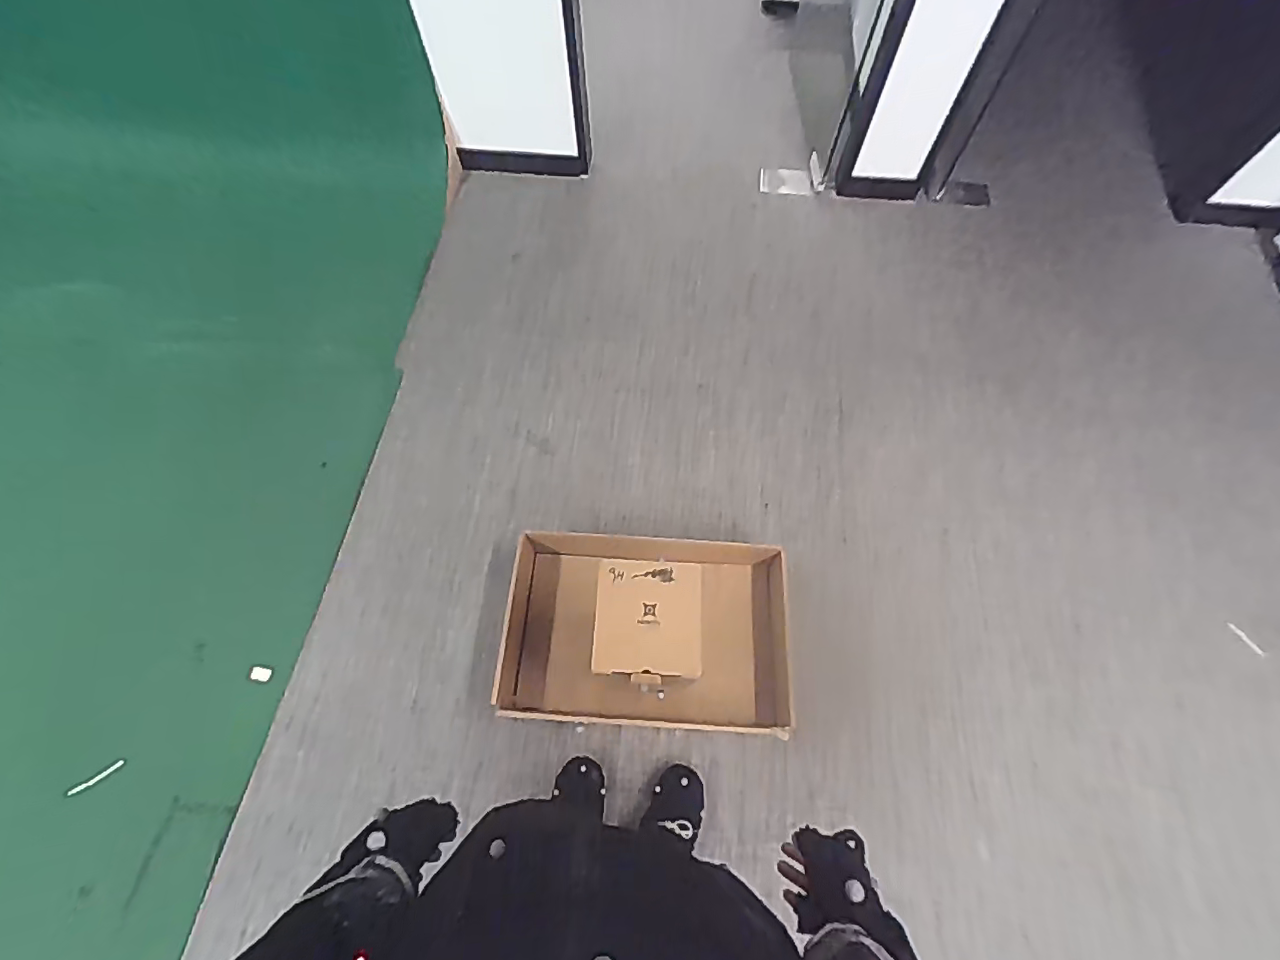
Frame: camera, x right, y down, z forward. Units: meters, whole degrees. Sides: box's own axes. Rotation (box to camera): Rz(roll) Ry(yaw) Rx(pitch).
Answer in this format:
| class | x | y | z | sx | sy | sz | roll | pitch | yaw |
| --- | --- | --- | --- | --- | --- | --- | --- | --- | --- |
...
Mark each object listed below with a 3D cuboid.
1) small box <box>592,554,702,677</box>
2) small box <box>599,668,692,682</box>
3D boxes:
| class | x | y | z | sx | sy | sz | roll | pitch | yaw |
| --- | --- | --- | --- | --- | --- | --- | --- | --- | --- |
| small box | 0.015 | 0.234 | 0.912 | 0.168 | 0.176 | 0.179 | 3 | 66 | 1 |
| small box | 0.013 | 0.296 | 1.046 | 0.168 | 0.176 | 0.179 | 0 | 66 | 0 |
